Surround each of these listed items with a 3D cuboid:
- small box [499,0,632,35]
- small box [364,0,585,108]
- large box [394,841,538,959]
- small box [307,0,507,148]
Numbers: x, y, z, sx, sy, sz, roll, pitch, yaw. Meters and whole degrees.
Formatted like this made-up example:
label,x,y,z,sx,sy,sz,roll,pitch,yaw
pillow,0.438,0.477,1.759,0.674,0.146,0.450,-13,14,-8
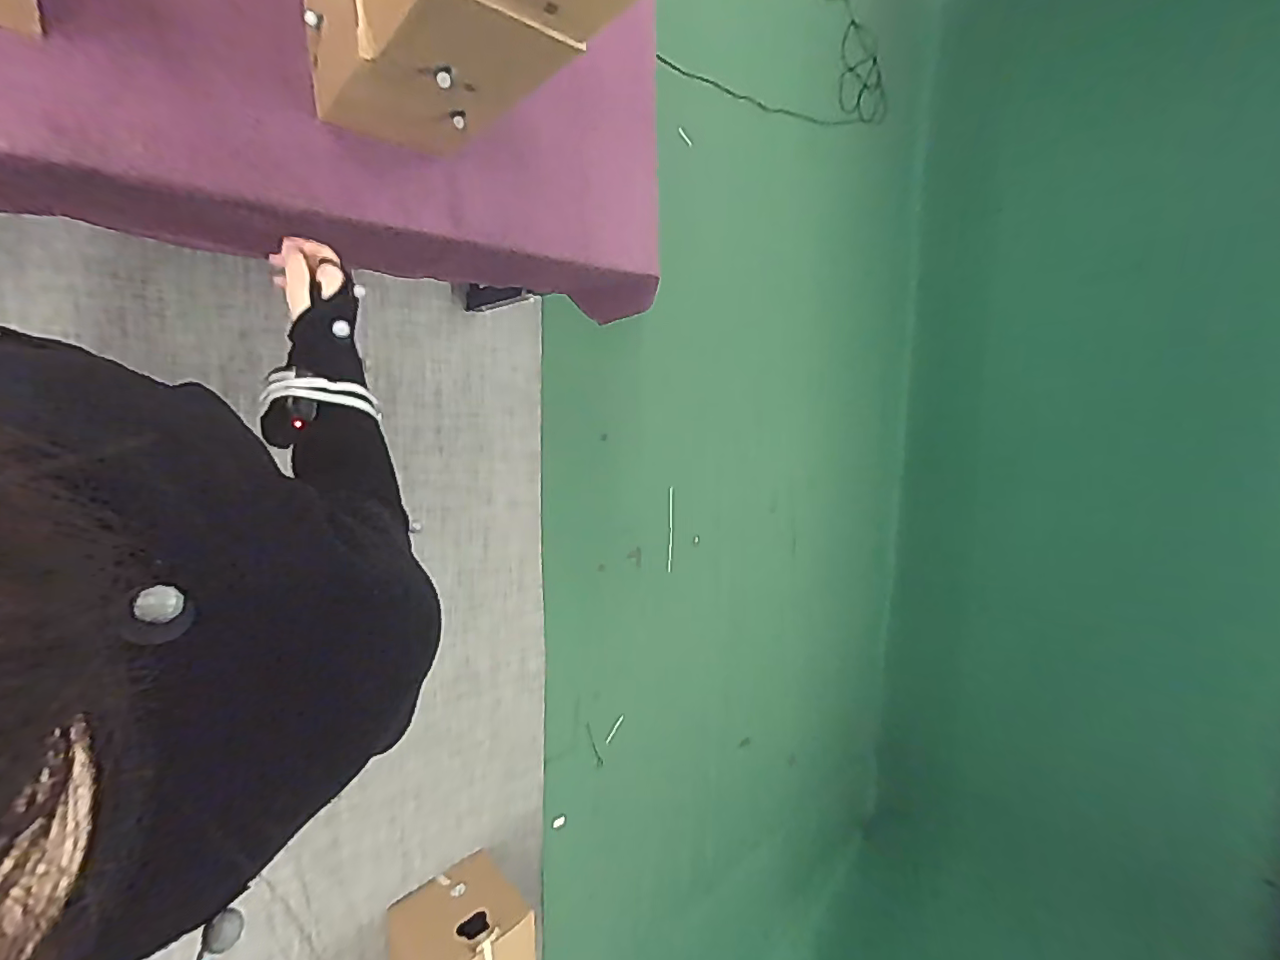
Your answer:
label,x,y,z,sx,sy,sz,roll,pitch,yaw
small box,-0.065,-0.519,0.433,0.168,0.176,0.179,-14,106,-41
small box,-0.175,-0.529,0.553,0.168,0.176,0.179,-12,104,-42
large box,-0.526,1.439,1.646,0.320,0.320,0.408,-8,103,-44
small box,-0.287,-0.542,0.671,0.179,0.176,0.168,-11,102,-43
